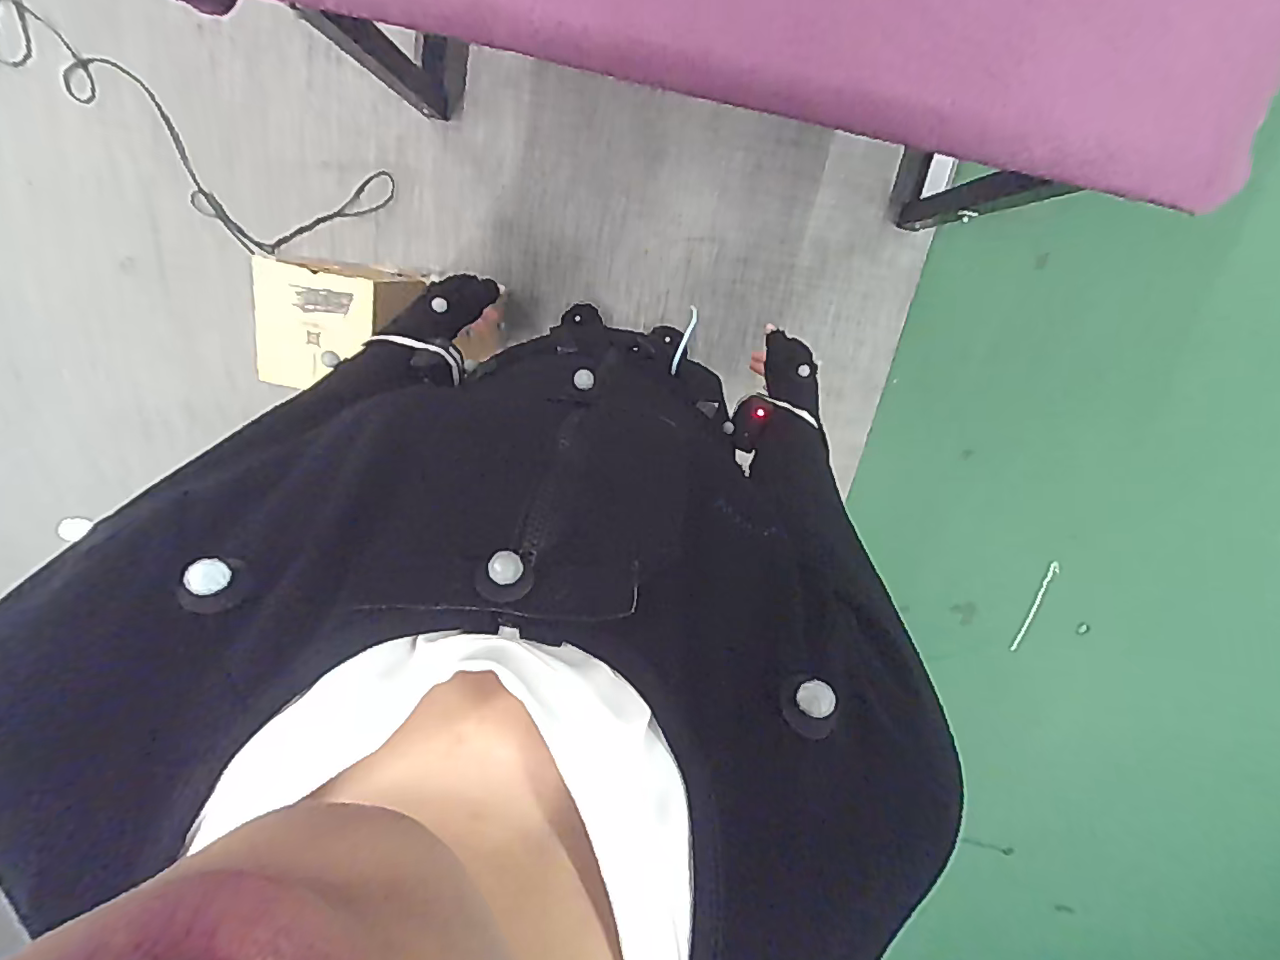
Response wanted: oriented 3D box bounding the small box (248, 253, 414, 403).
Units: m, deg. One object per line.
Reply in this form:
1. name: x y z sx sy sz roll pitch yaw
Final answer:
1. small box: -0.464 -0.237 0.832 0.168 0.176 0.179 13 111 -4
